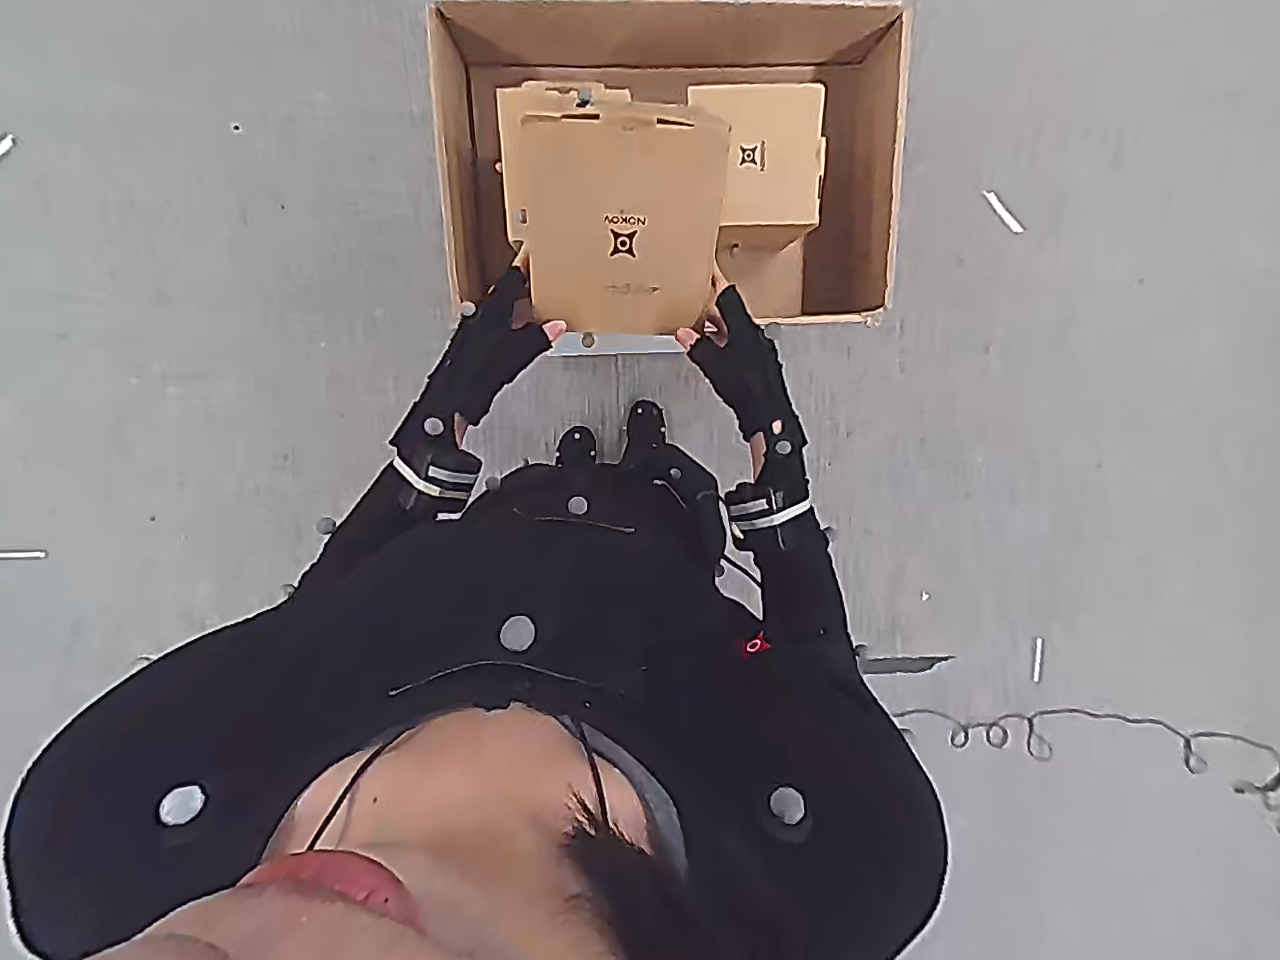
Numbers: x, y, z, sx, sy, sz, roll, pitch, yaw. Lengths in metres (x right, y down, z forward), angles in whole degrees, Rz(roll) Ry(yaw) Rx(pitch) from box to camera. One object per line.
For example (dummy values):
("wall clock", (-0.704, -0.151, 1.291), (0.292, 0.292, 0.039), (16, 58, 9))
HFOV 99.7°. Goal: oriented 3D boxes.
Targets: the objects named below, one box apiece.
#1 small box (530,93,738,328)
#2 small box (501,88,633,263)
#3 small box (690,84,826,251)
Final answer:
("small box", (-0.013, -0.265, 0.527), (0.168, 0.176, 0.179), (1, 128, -4))
("small box", (-0.095, -0.412, 0.759), (0.168, 0.176, 0.179), (-2, 103, -4))
("small box", (0.145, -0.431, 0.772), (0.179, 0.176, 0.168), (-2, 102, -2))
